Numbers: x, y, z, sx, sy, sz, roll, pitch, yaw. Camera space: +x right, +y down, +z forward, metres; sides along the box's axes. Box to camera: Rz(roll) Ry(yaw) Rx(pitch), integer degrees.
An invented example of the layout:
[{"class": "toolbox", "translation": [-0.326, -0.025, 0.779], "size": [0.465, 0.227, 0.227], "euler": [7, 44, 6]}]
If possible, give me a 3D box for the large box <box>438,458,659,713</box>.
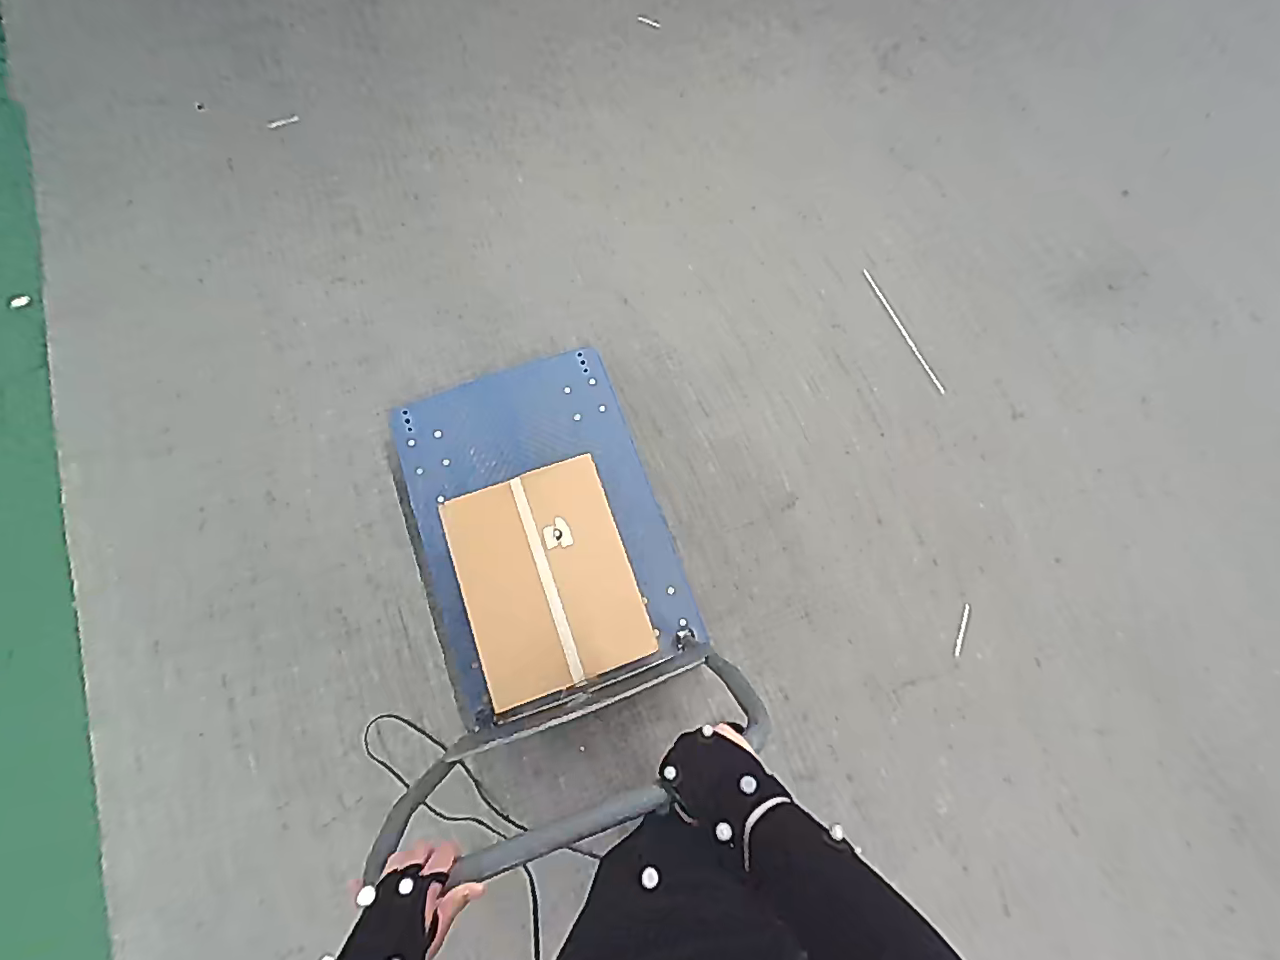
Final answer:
[{"class": "large box", "translation": [-0.178, 0.223, 1.161], "size": [0.320, 0.320, 0.408], "euler": [-20, 76, -7]}]
